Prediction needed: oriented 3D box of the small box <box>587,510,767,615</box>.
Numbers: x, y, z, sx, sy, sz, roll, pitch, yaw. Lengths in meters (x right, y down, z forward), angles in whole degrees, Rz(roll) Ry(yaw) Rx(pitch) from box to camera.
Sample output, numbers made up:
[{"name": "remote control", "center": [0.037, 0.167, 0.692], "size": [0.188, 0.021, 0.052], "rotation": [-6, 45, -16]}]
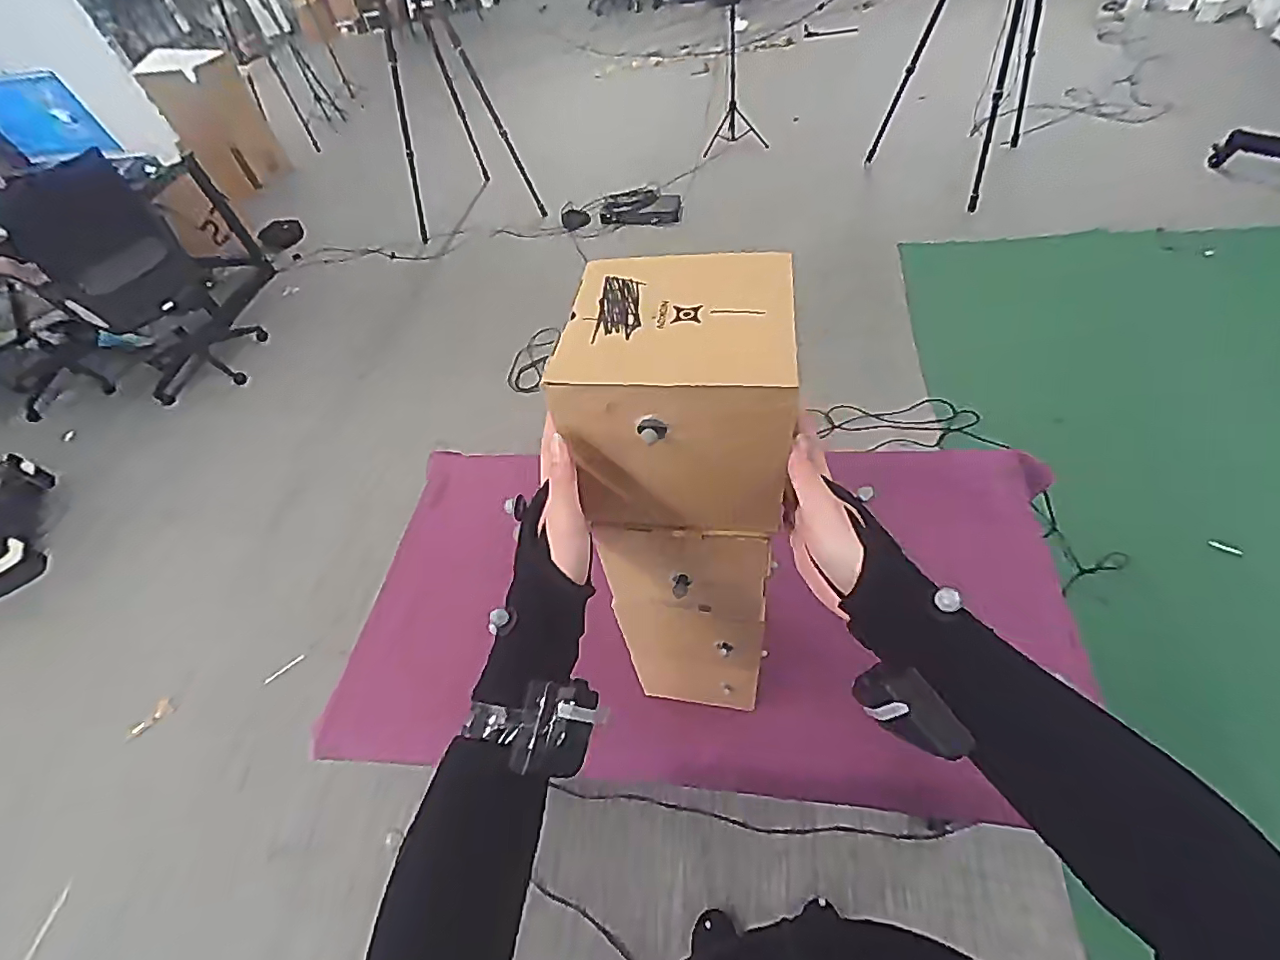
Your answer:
[{"name": "small box", "center": [0.056, 0.031, 0.597], "size": [0.168, 0.176, 0.179], "rotation": [4, 53, 12]}]

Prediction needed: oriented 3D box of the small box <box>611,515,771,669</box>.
[{"name": "small box", "center": [0.075, 0.137, 0.719], "size": [0.179, 0.176, 0.168], "rotation": [4, 52, 13]}]

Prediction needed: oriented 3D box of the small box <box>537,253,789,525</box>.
[{"name": "small box", "center": [0.034, -0.074, 0.471], "size": [0.179, 0.176, 0.168], "rotation": [3, 51, 11]}]
